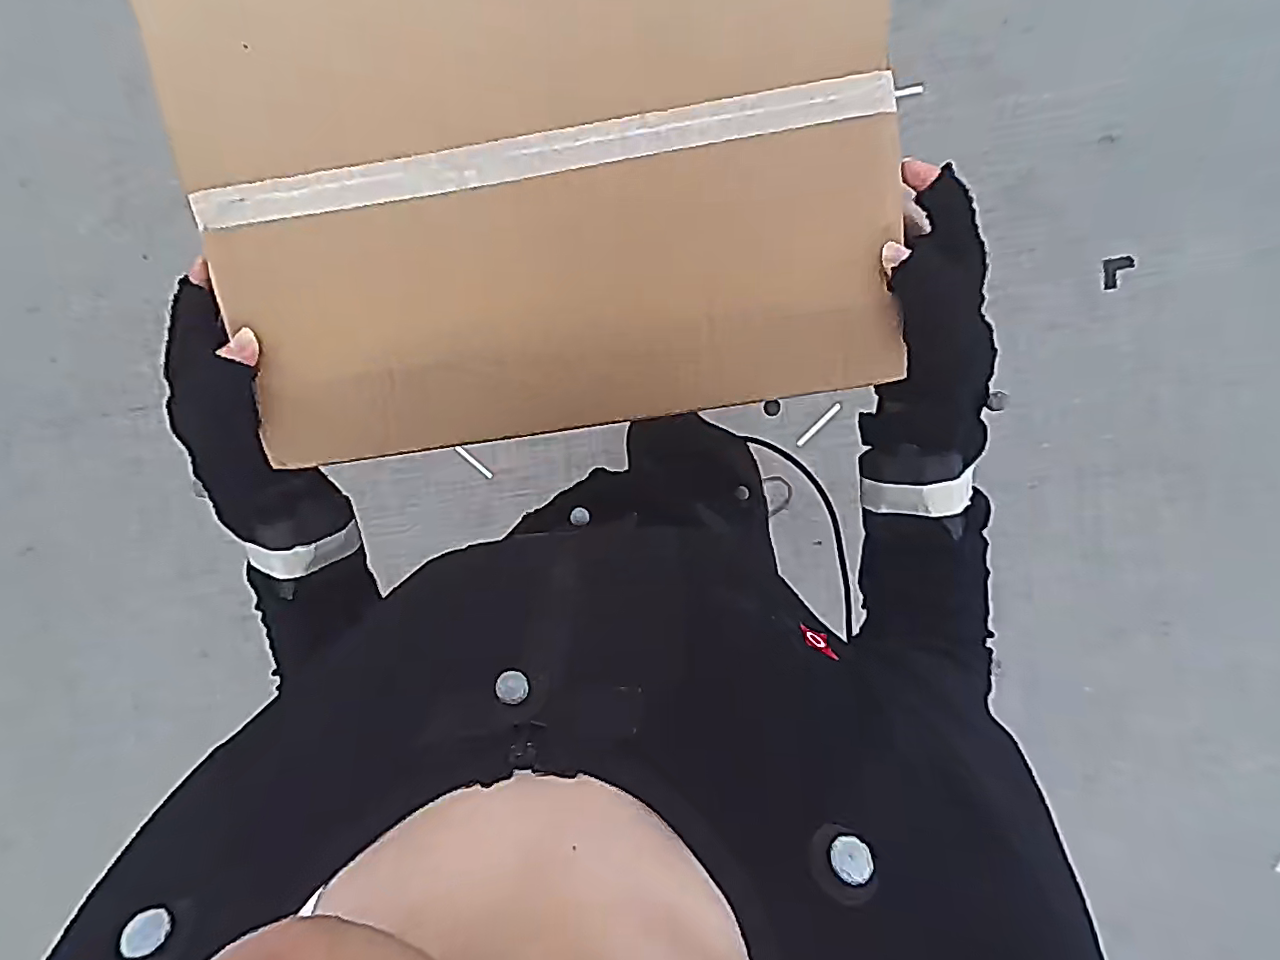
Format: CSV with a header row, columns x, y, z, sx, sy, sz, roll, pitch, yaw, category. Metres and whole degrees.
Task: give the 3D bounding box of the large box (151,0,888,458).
x,y,z,sx,sy,sz,roll,pitch,yaw,category
-0.057,-0.225,0.463,0.408,0.320,0.320,-8,102,3,large box
